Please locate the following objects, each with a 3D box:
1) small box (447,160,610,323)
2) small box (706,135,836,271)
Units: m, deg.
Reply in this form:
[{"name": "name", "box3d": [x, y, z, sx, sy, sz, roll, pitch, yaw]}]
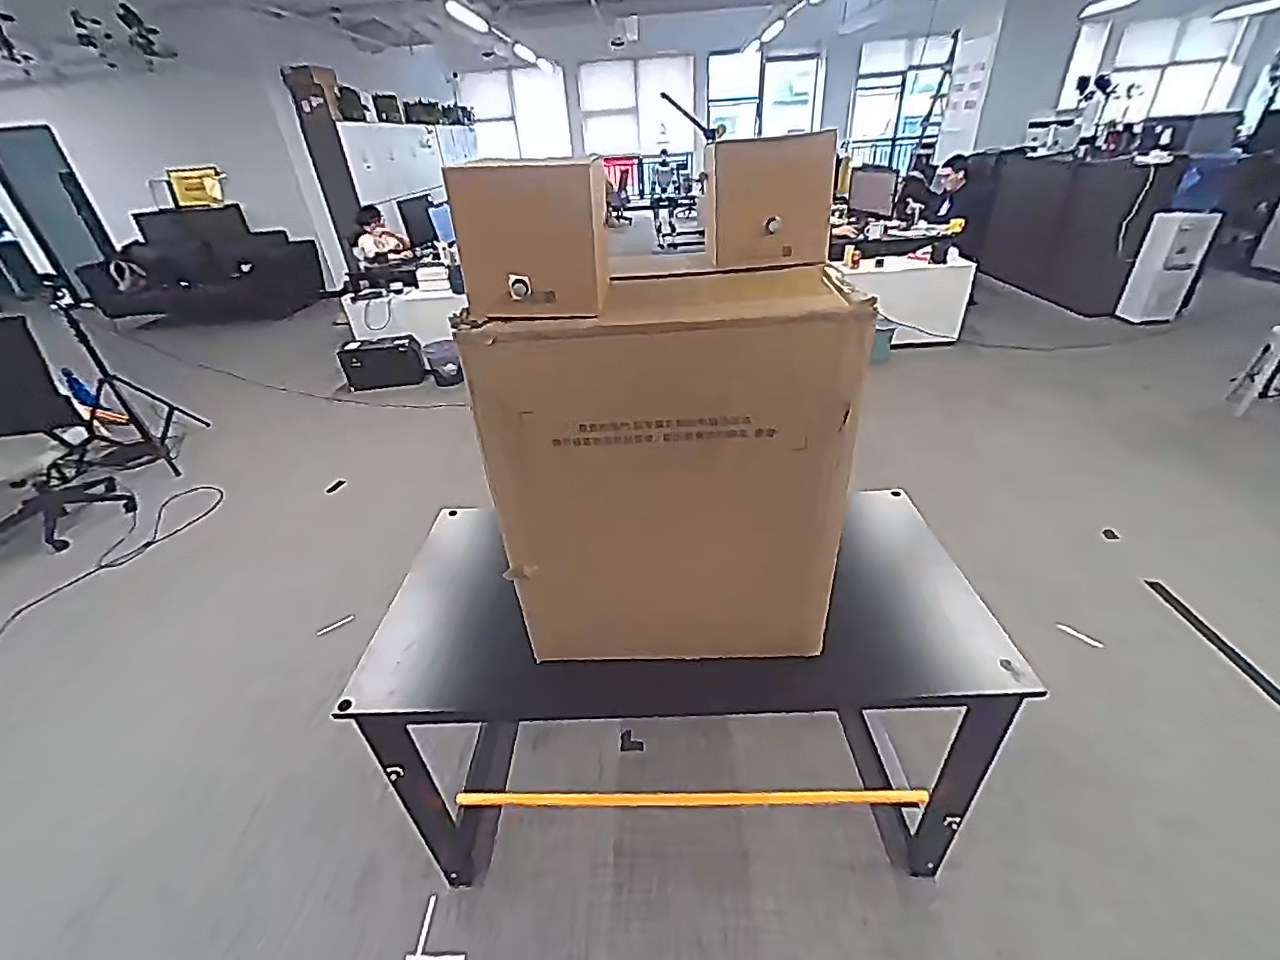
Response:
[{"name": "small box", "box3d": [-0.128, -0.311, 0.700, 0.168, 0.176, 0.179, -2, 34, 2]}, {"name": "small box", "box3d": [0.191, -0.427, 0.841, 0.168, 0.176, 0.179, -4, 30, 3]}]
